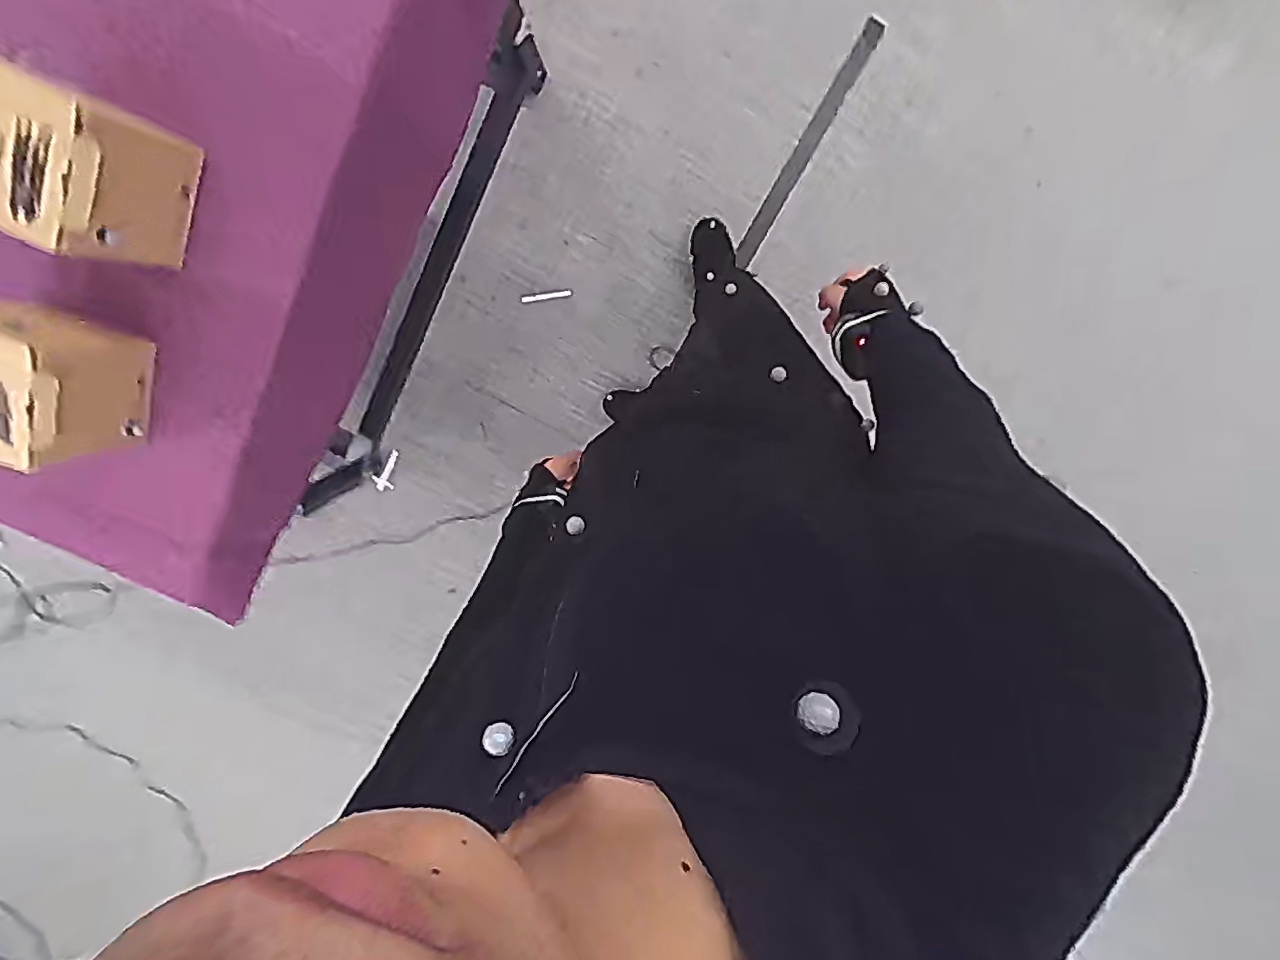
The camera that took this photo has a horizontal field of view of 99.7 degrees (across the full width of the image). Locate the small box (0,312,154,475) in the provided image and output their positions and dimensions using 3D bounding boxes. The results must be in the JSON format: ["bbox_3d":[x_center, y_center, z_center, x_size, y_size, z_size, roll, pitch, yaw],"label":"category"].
[{"bbox_3d":[-0.822,-0.126,0.738,0.179,0.176,0.168,18,105,-4],"label":"small box"}]
